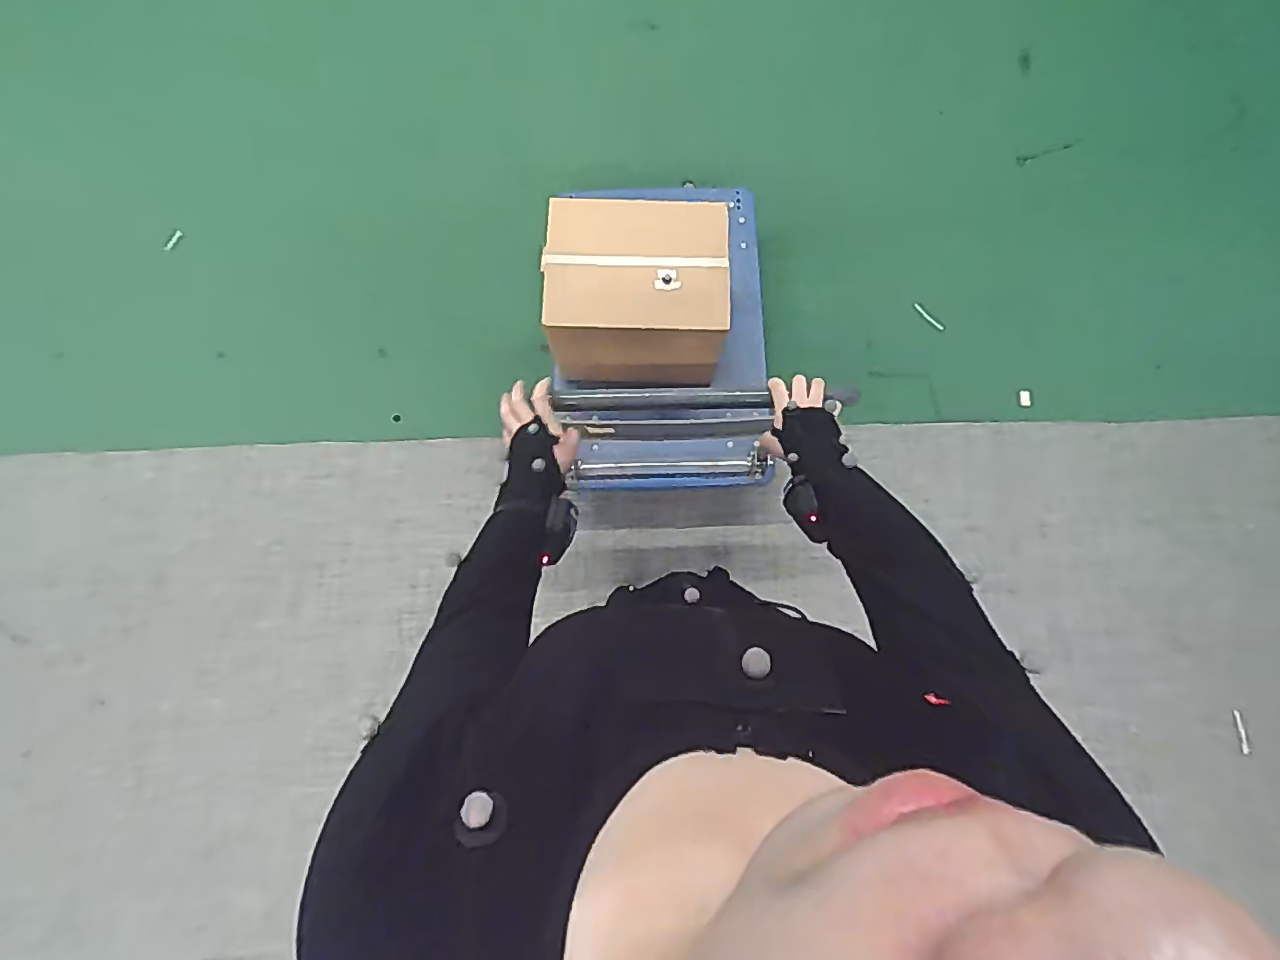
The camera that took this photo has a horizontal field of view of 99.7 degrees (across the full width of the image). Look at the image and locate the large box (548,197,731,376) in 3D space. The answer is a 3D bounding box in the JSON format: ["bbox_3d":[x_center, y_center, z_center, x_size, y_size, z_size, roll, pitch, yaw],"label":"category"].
[{"bbox_3d":[-0.003,-0.458,1.338,0.408,0.320,0.320,1,79,-1],"label":"large box"}]
